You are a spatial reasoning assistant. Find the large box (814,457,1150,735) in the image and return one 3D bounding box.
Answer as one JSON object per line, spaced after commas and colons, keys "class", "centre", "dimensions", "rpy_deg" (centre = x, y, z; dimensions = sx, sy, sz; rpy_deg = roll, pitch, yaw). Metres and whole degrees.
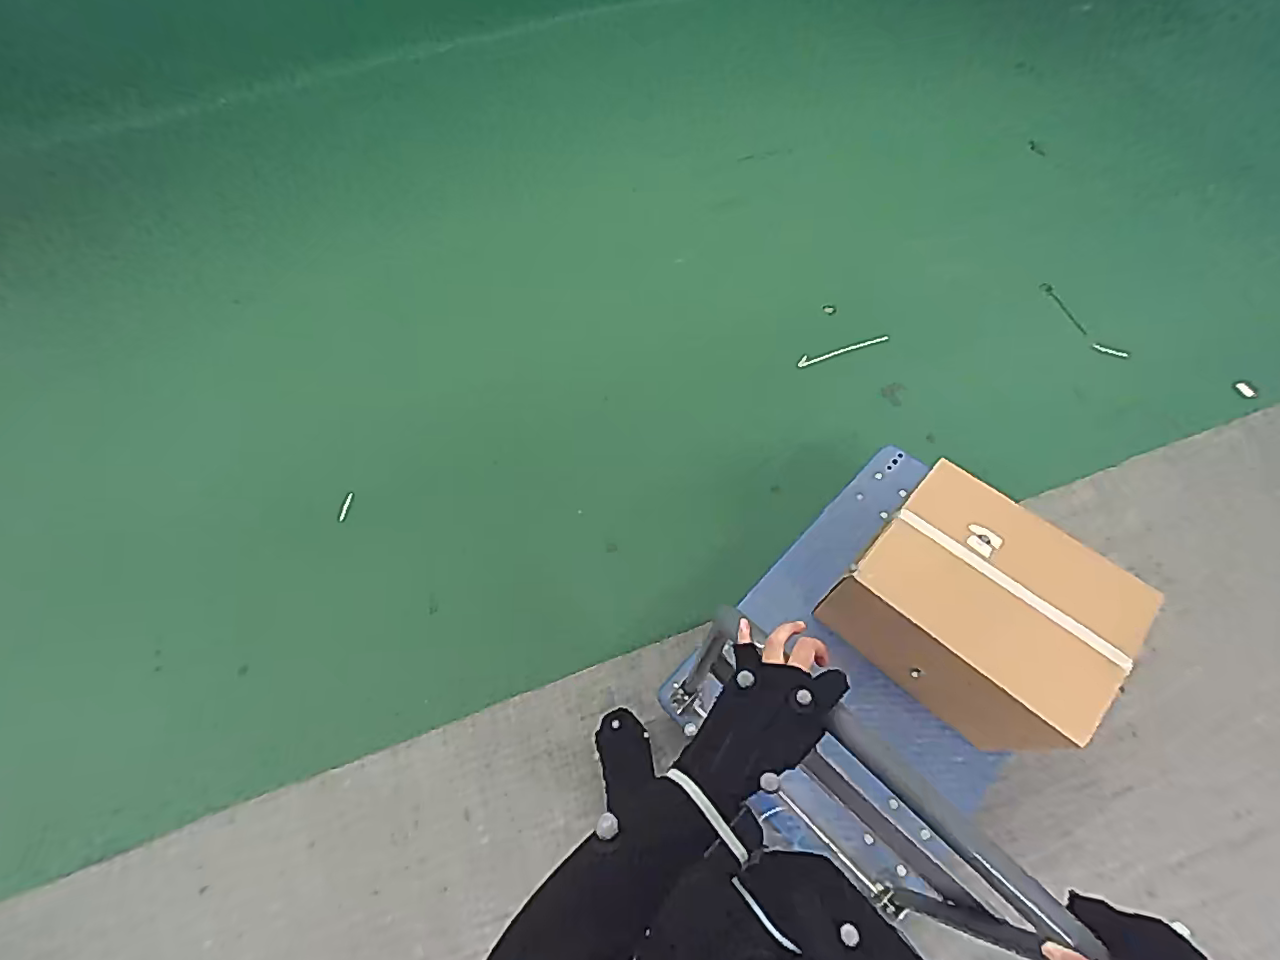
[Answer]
{"class": "large box", "centre": [0.624, 0.236, 1.064], "dimensions": [0.408, 0.320, 0.320], "rpy_deg": [38, 71, 21]}
